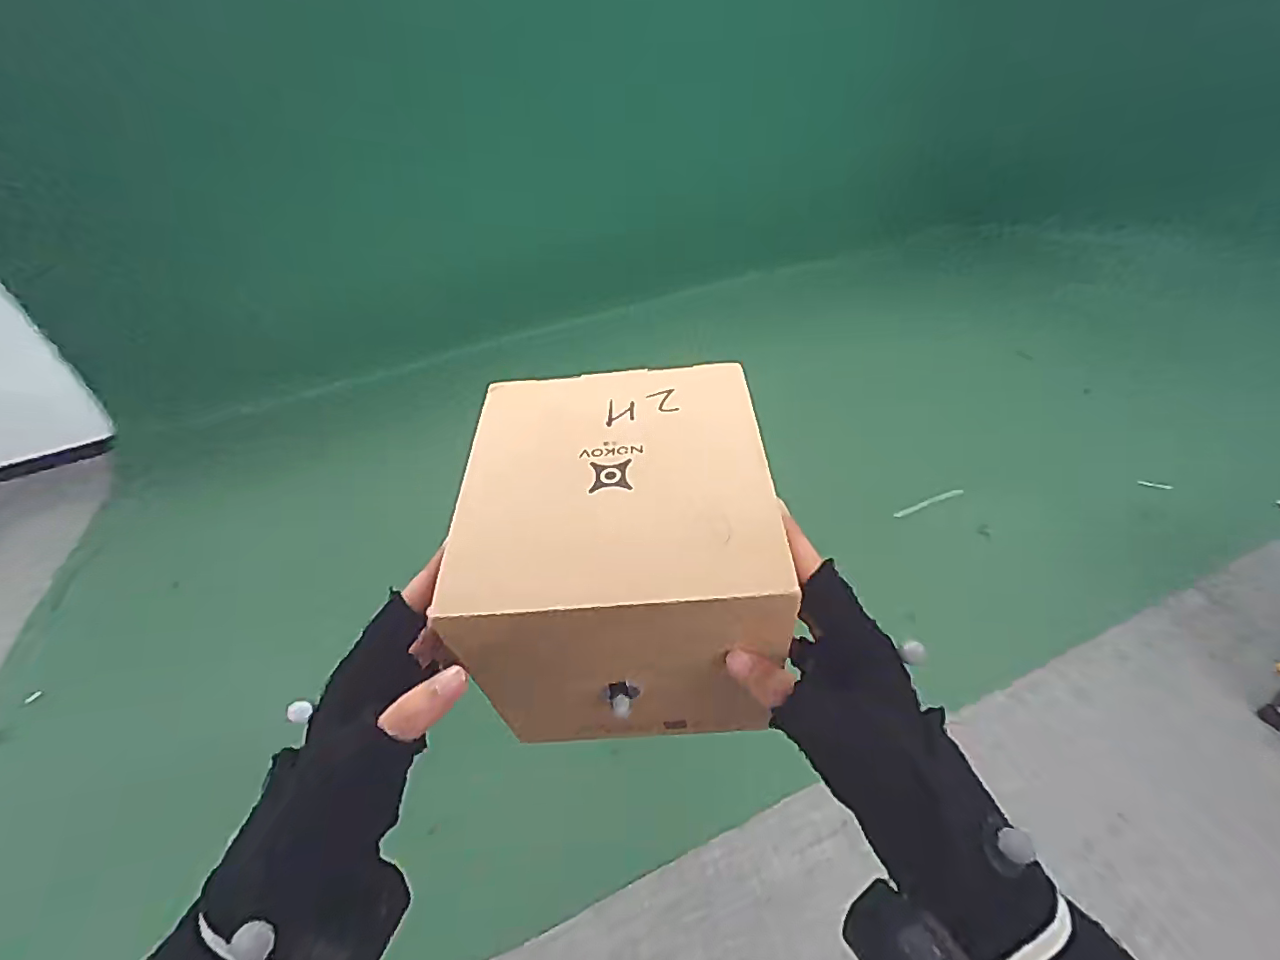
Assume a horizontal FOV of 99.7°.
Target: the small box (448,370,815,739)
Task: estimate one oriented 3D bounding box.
[{"bbox_3d":[0.002,0.053,0.346,0.168,0.176,0.179,-3,46,3],"label":"small box"}]
